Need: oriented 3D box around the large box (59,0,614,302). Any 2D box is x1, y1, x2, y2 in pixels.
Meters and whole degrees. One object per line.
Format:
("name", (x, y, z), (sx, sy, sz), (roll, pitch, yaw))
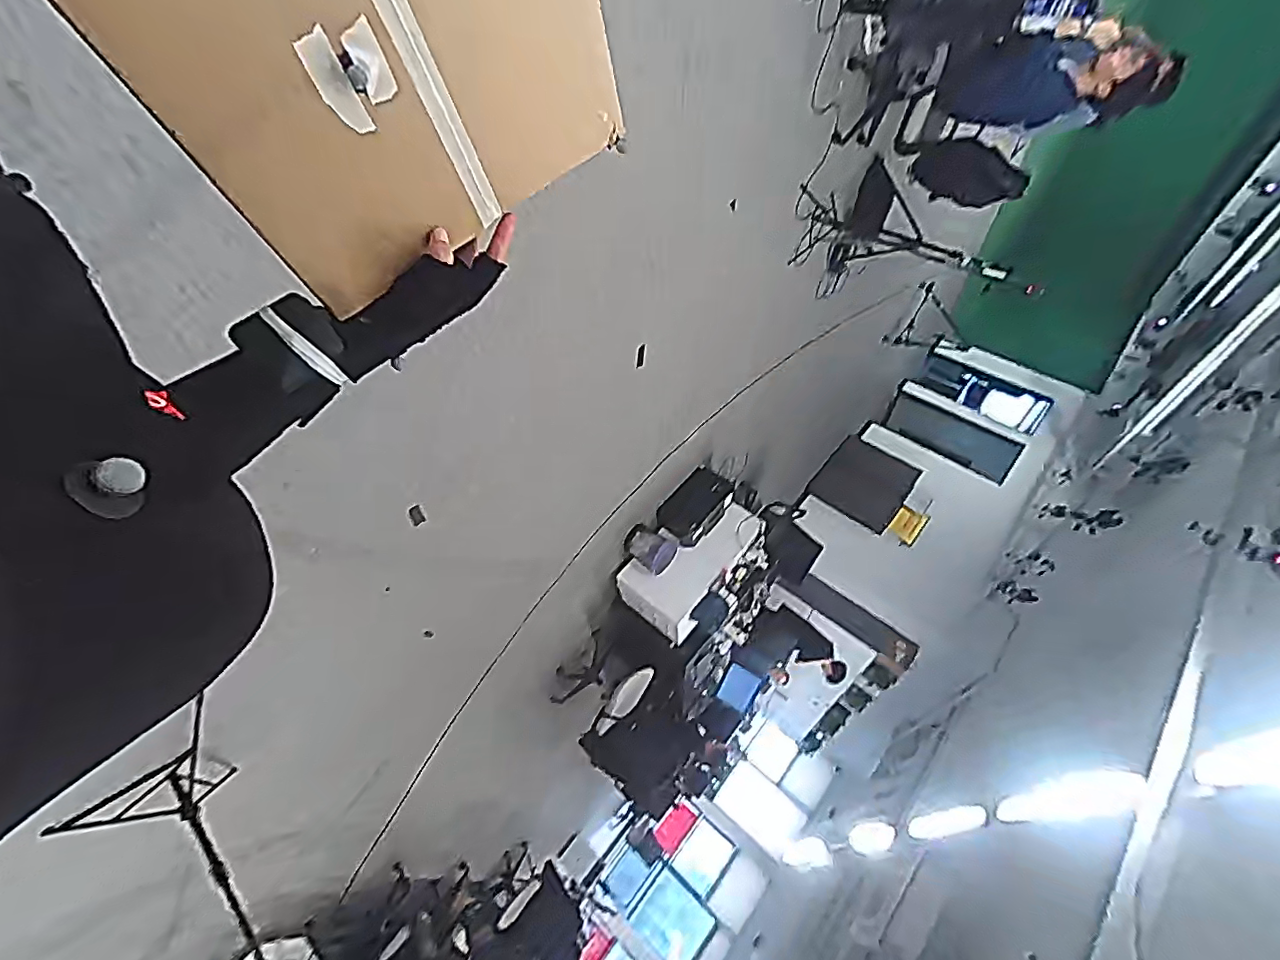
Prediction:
("large box", (-0.269, -0.427, 0.385), (0.320, 0.320, 0.408), (-39, 151, -11))
